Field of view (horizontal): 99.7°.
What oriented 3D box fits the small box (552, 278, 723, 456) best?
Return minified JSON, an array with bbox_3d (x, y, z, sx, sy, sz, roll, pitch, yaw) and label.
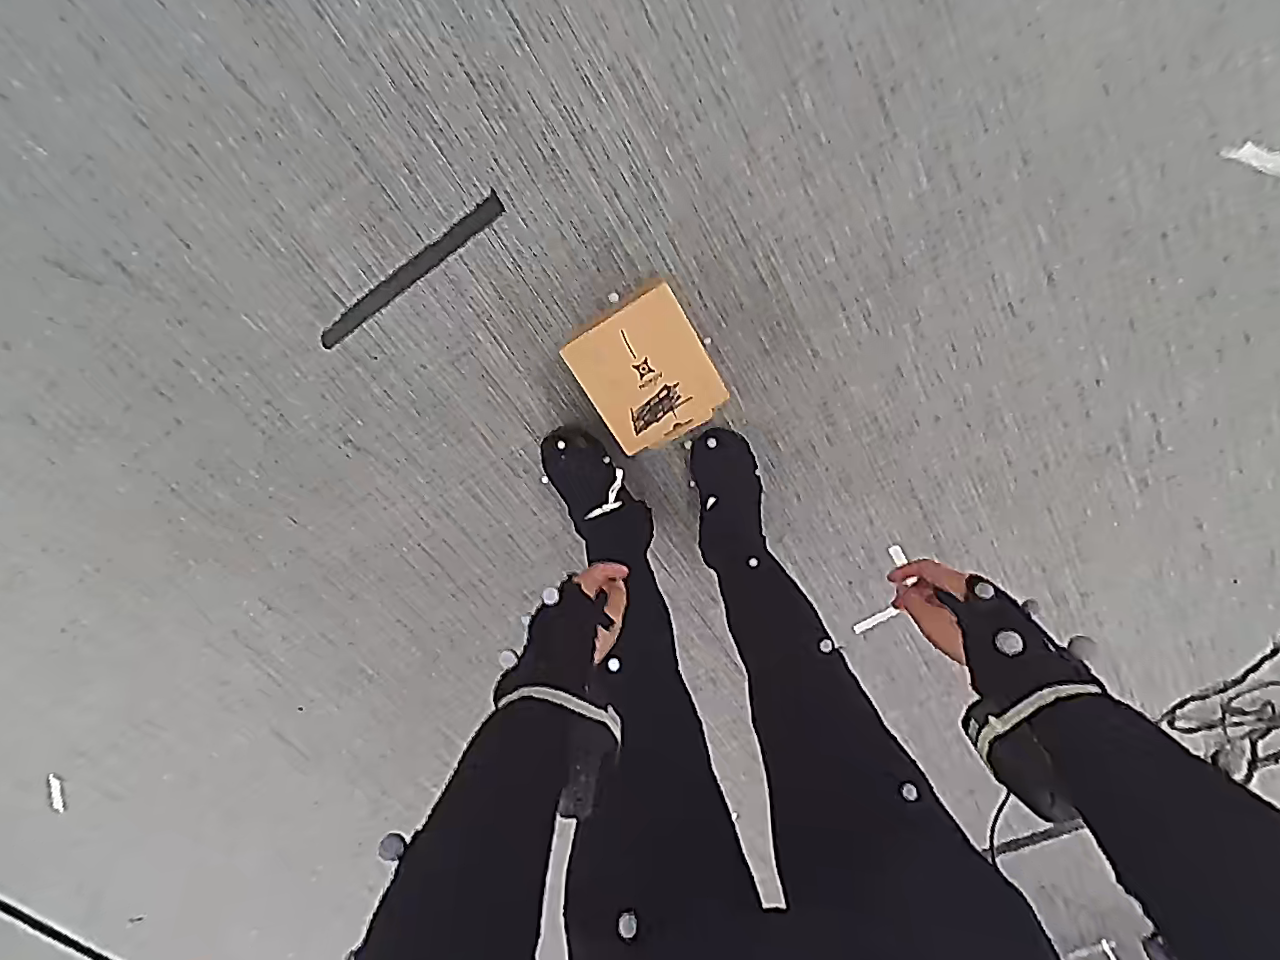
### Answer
[{"bbox_3d":[-0.001,-0.169,0.777,0.168,0.176,0.179,-30,110,11],"label":"small box"}]
